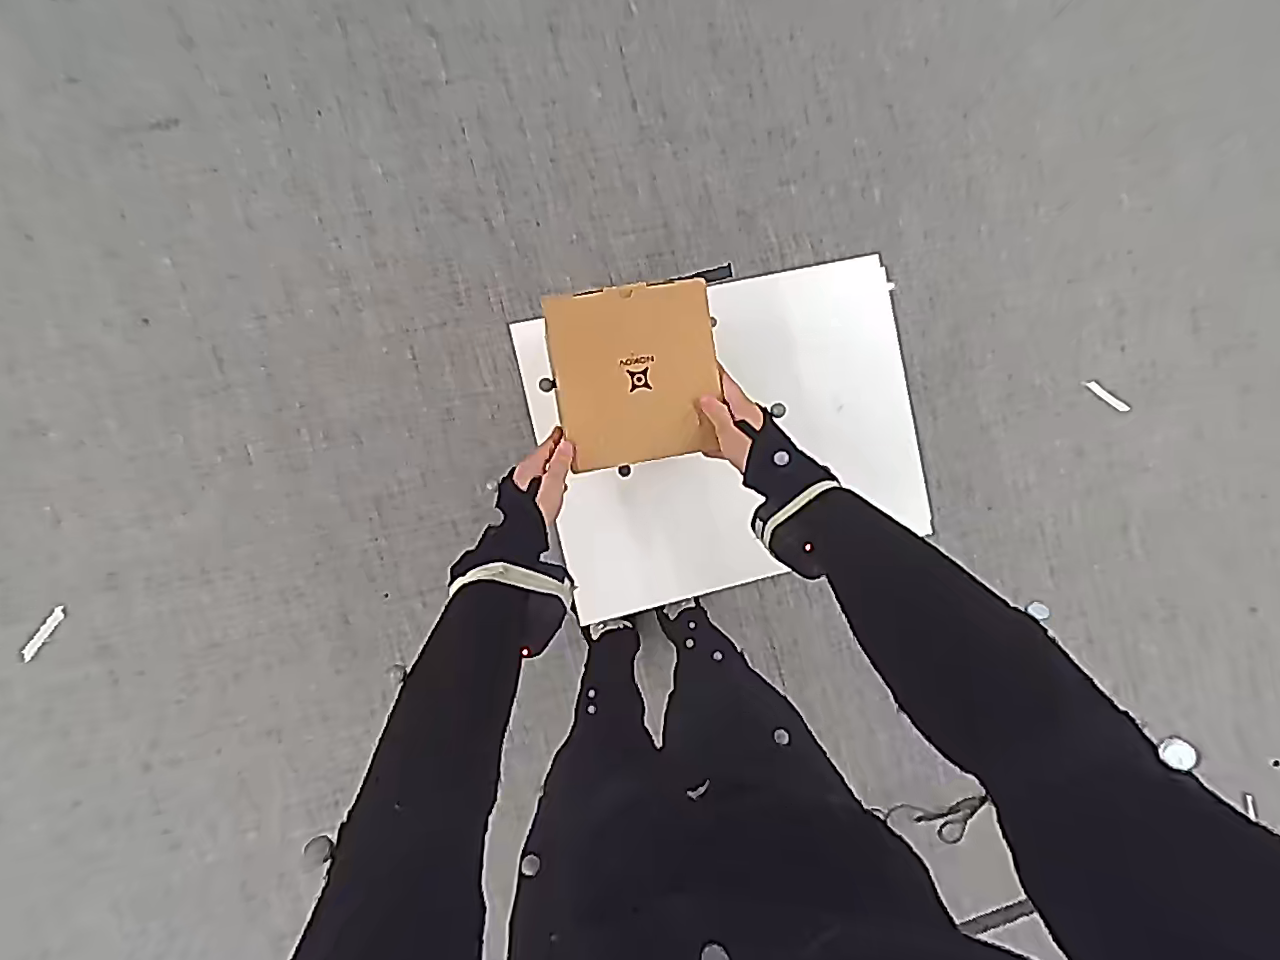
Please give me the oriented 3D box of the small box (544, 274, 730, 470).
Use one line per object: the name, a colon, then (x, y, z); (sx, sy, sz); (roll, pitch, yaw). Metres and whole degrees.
small box: (-0.011, -0.112, 0.613); (0.168, 0.176, 0.179); (-10, 93, -8)
